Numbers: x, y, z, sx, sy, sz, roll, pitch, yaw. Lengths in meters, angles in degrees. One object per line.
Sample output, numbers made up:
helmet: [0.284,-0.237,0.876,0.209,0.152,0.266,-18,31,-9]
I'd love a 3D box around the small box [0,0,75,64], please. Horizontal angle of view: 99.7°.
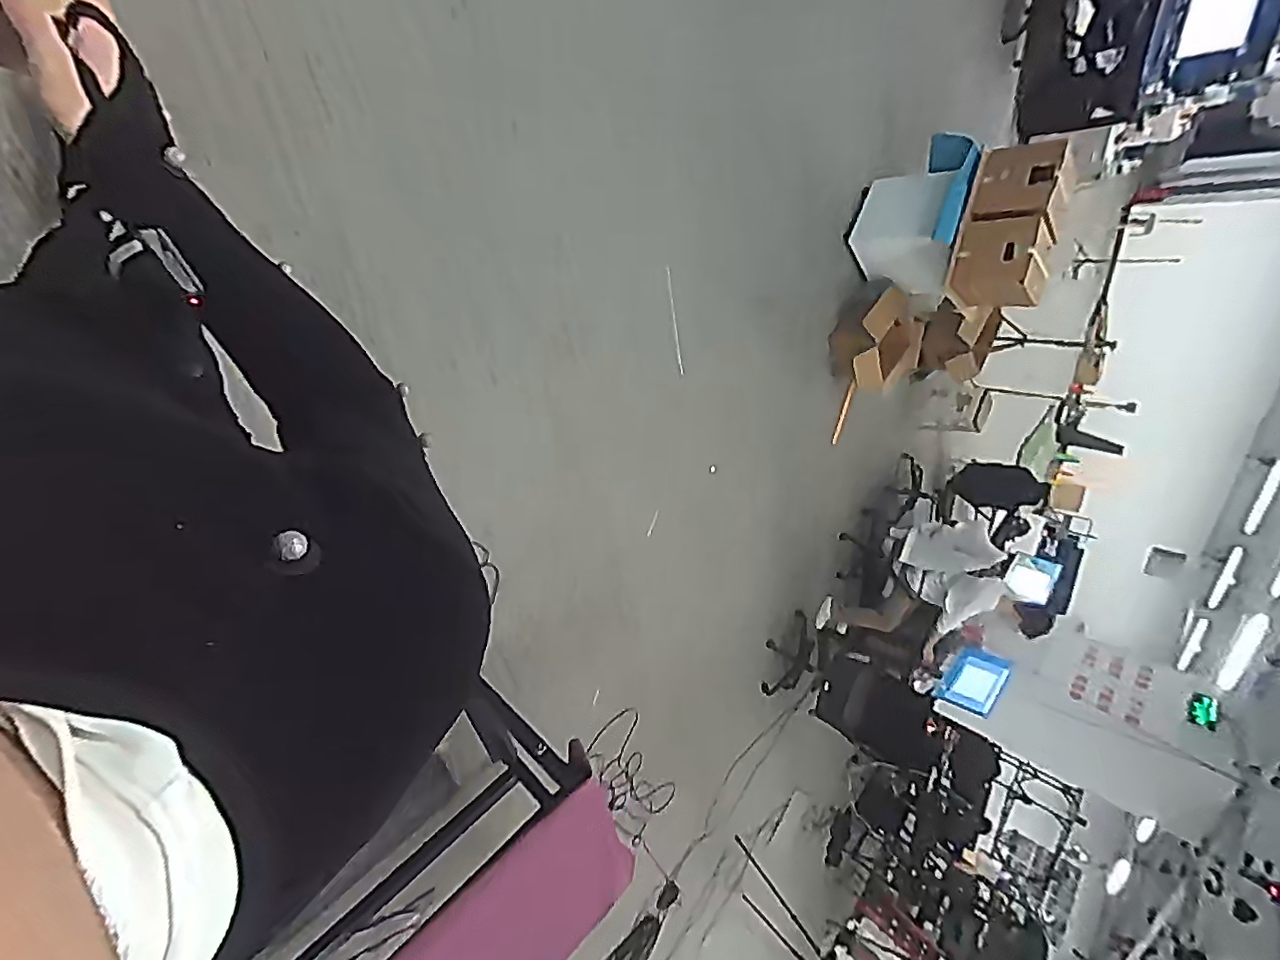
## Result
small box: [-0.522,-0.436,0.370,0.168,0.176,0.179,-9,110,-48]
